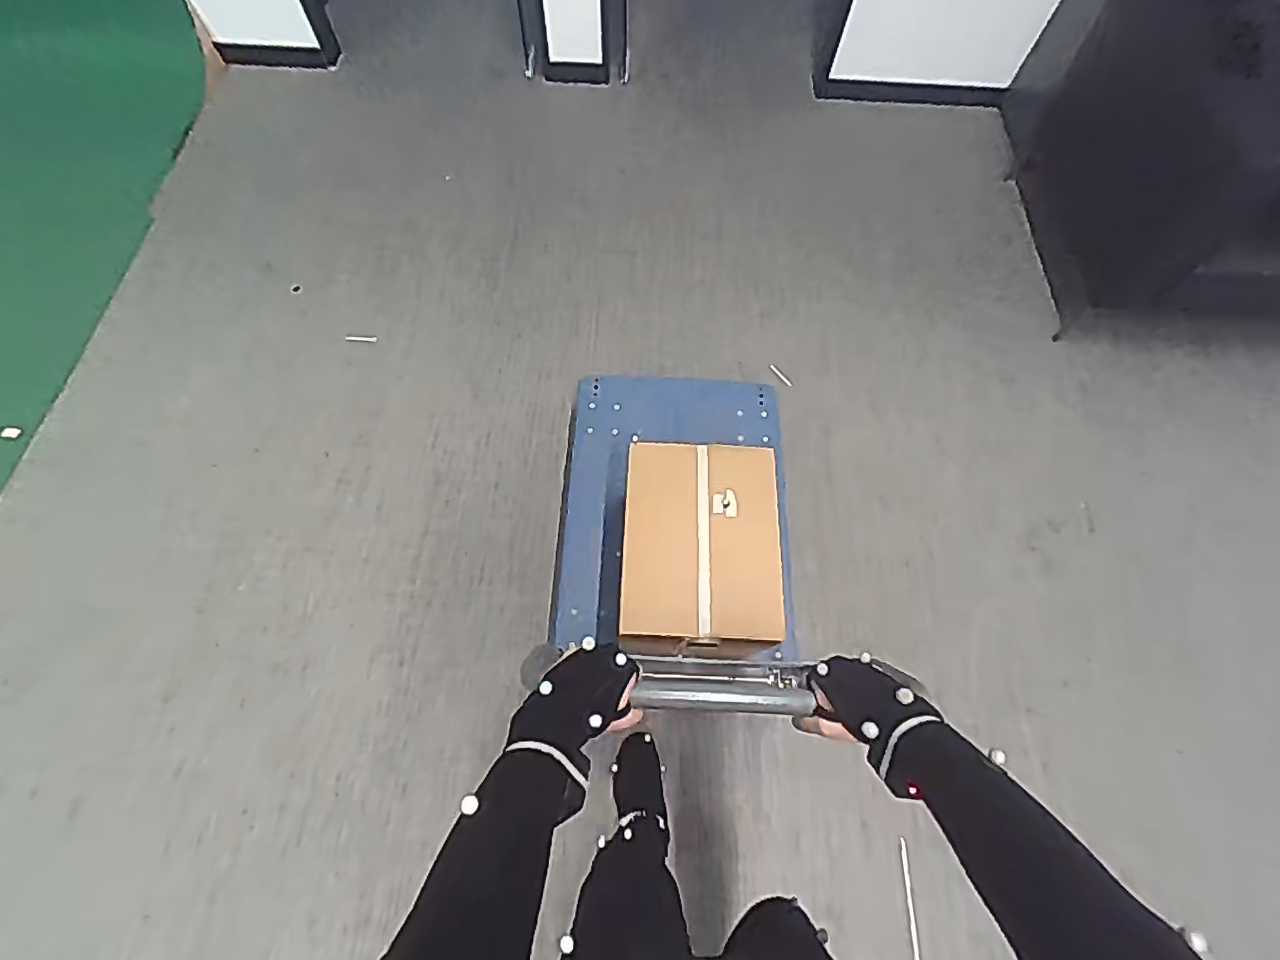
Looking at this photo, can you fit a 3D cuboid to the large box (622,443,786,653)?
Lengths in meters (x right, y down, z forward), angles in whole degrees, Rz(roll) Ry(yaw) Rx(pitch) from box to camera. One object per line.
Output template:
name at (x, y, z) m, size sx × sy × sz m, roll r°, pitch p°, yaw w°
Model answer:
large box at (0.121, 0.167, 1.223) m, size 0.320 × 0.320 × 0.408 m, roll 3°, pitch 66°, yaw -1°
